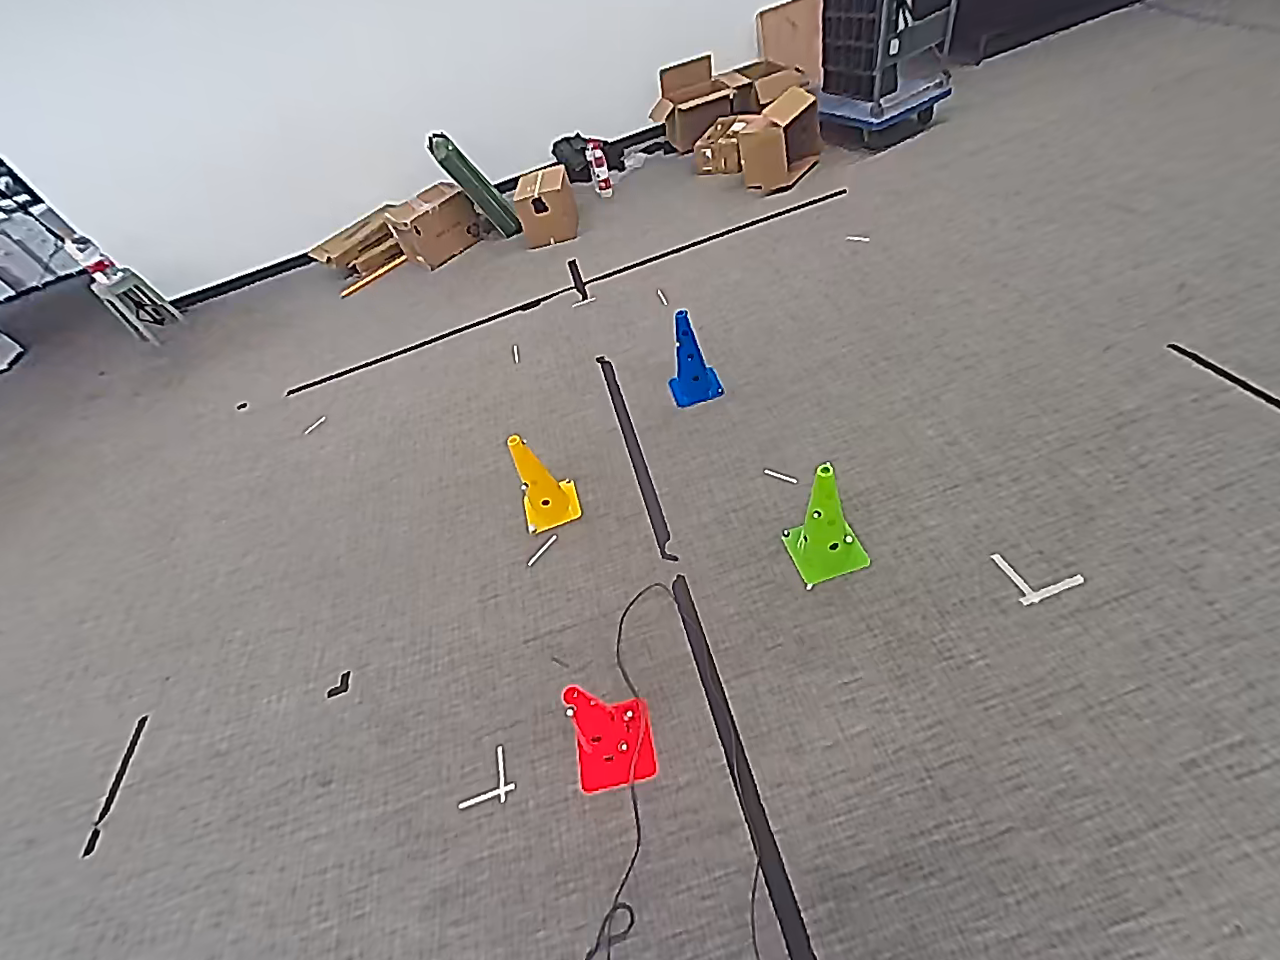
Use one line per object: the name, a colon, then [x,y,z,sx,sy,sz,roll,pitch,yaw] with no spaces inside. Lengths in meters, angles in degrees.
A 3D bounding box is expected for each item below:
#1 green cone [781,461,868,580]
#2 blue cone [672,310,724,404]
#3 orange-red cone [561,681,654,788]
green cone: [0.511,0.086,1.495,0.202,0.368,0.200,-18,47,0]
blue cone: [0.199,-0.498,2.134,0.192,0.380,0.193,-16,47,3]
orange-red cone: [-0.111,0.565,1.277,0.199,0.360,0.198,-17,45,5]
